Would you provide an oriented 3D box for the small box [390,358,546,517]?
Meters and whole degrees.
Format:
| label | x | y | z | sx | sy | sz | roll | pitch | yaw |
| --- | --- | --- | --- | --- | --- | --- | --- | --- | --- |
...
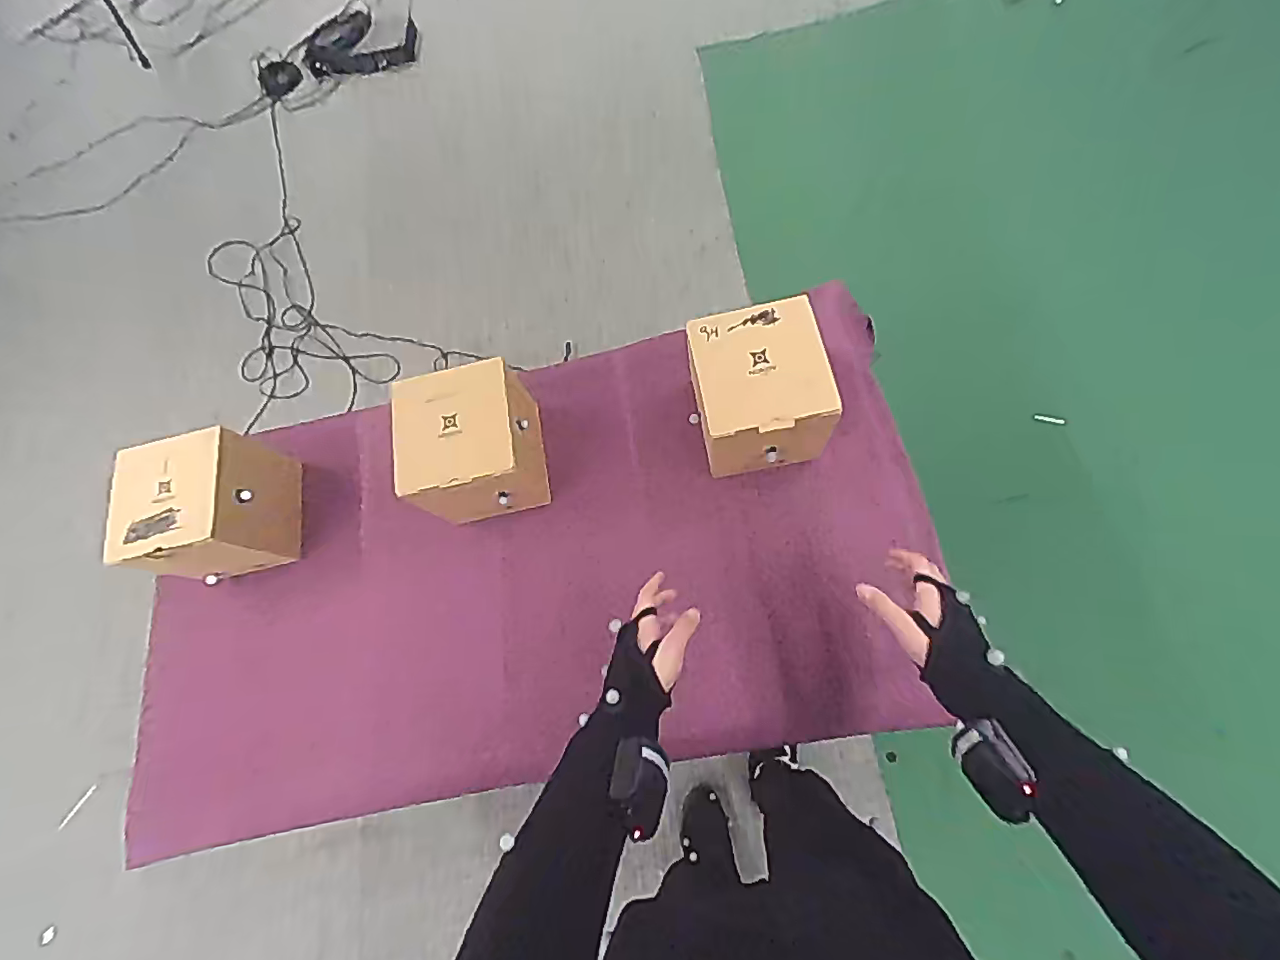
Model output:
| label | x | y | z | sx | sy | sz | roll | pitch | yaw |
| --- | --- | --- | --- | --- | --- | --- | --- | --- | --- |
| small box | -0.249 | -0.050 | 0.808 | 0.168 | 0.176 | 0.179 | -12 | 71 | 4 |

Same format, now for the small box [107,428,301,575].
| label | x | y | z | sx | sy | sz | roll | pitch | yaw |
| --- | --- | --- | --- | --- | --- | --- | --- | --- | --- |
| small box | -0.661 | 0.045 | 0.840 | 0.168 | 0.176 | 0.179 | -13 | 71 | 4 |

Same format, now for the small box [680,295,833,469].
| label | x | y | z | sx | sy | sz | roll | pitch | yaw |
| --- | --- | --- | --- | --- | --- | --- | --- | --- | --- |
| small box | 0.159 | -0.124 | 0.766 | 0.168 | 0.176 | 0.179 | -12 | 72 | 5 |
